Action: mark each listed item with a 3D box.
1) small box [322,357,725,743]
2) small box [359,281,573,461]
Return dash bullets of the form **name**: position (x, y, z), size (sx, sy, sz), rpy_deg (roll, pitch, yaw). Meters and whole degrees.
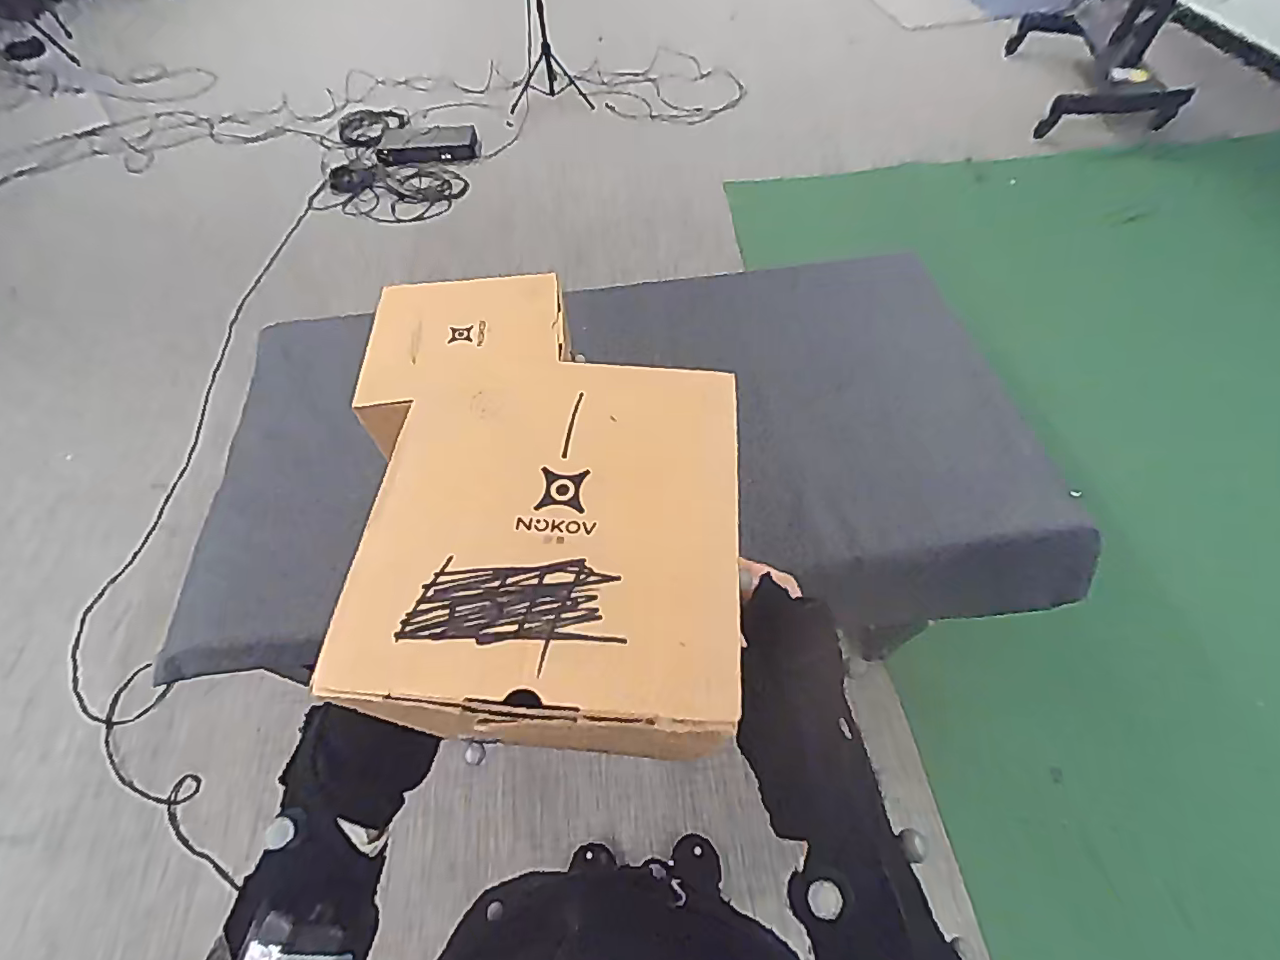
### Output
- **small box**: position (-0.042, 0.052, 0.326), size (0.168, 0.176, 0.179), rpy_deg (5, 58, 2)
- **small box**: position (-0.157, -0.083, 0.570), size (0.179, 0.176, 0.168), rpy_deg (-6, 54, -1)
